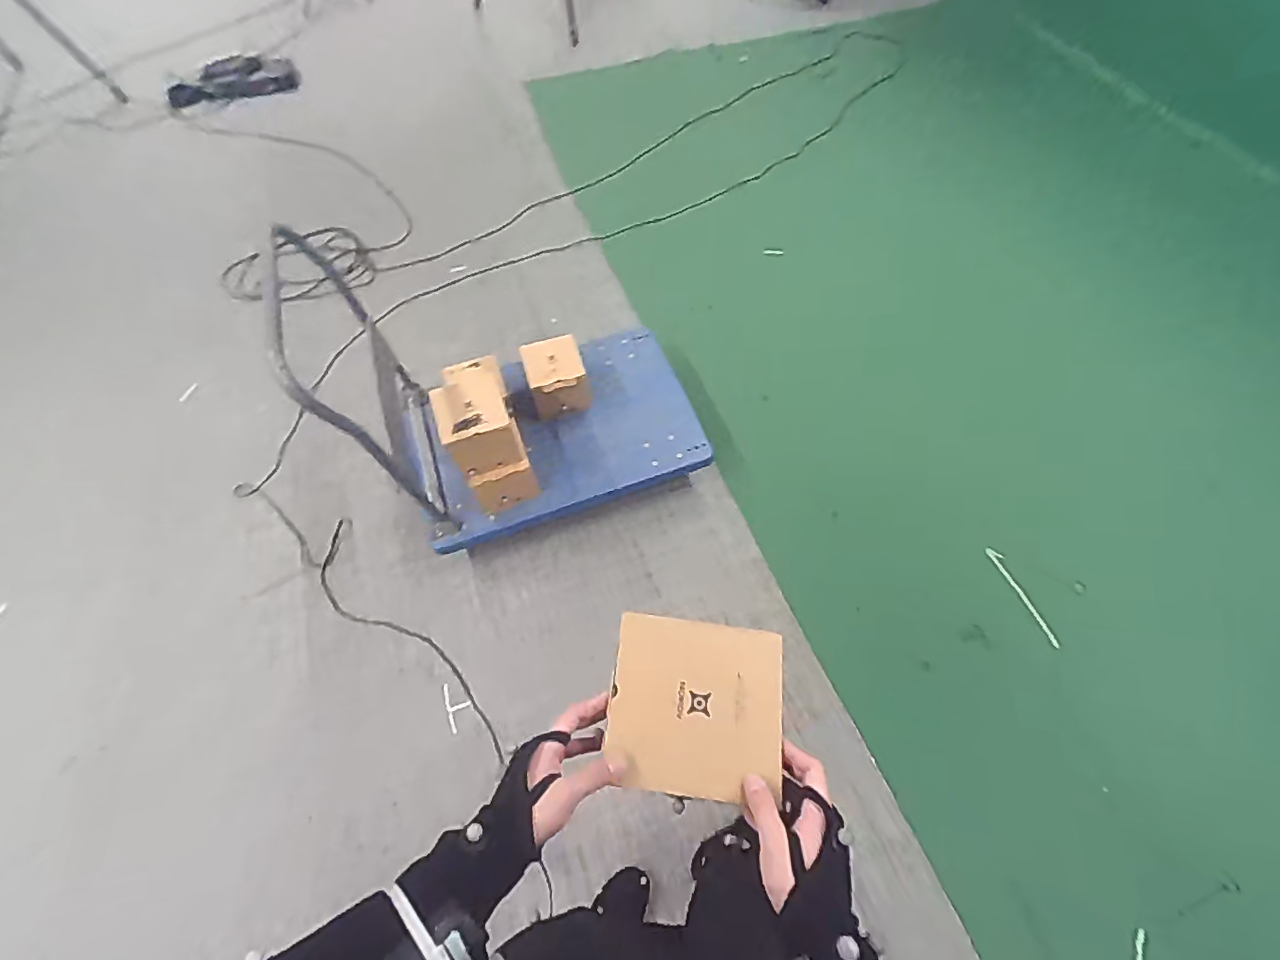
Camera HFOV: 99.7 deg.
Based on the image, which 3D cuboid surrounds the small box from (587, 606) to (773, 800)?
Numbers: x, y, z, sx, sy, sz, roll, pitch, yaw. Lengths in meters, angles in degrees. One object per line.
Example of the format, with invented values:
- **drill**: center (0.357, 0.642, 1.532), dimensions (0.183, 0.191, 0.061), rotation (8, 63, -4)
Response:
- **small box**: center (0.044, 0.257, 0.612), dimensions (0.179, 0.176, 0.168), rotation (7, 59, 2)

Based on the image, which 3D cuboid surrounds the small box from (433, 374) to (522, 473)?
- **small box**: center (-0.412, -0.137, 1.389), dimensions (0.168, 0.176, 0.179), rotation (-17, 61, -10)

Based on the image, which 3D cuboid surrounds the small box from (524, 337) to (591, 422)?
- **small box**: center (-0.253, -0.307, 1.672), dimensions (0.168, 0.176, 0.179), rotation (-15, 62, -7)

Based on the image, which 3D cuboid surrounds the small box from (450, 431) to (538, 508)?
- **small box**: center (-0.404, -0.034, 1.529), dimensions (0.179, 0.176, 0.168), rotation (9, 63, 6)
